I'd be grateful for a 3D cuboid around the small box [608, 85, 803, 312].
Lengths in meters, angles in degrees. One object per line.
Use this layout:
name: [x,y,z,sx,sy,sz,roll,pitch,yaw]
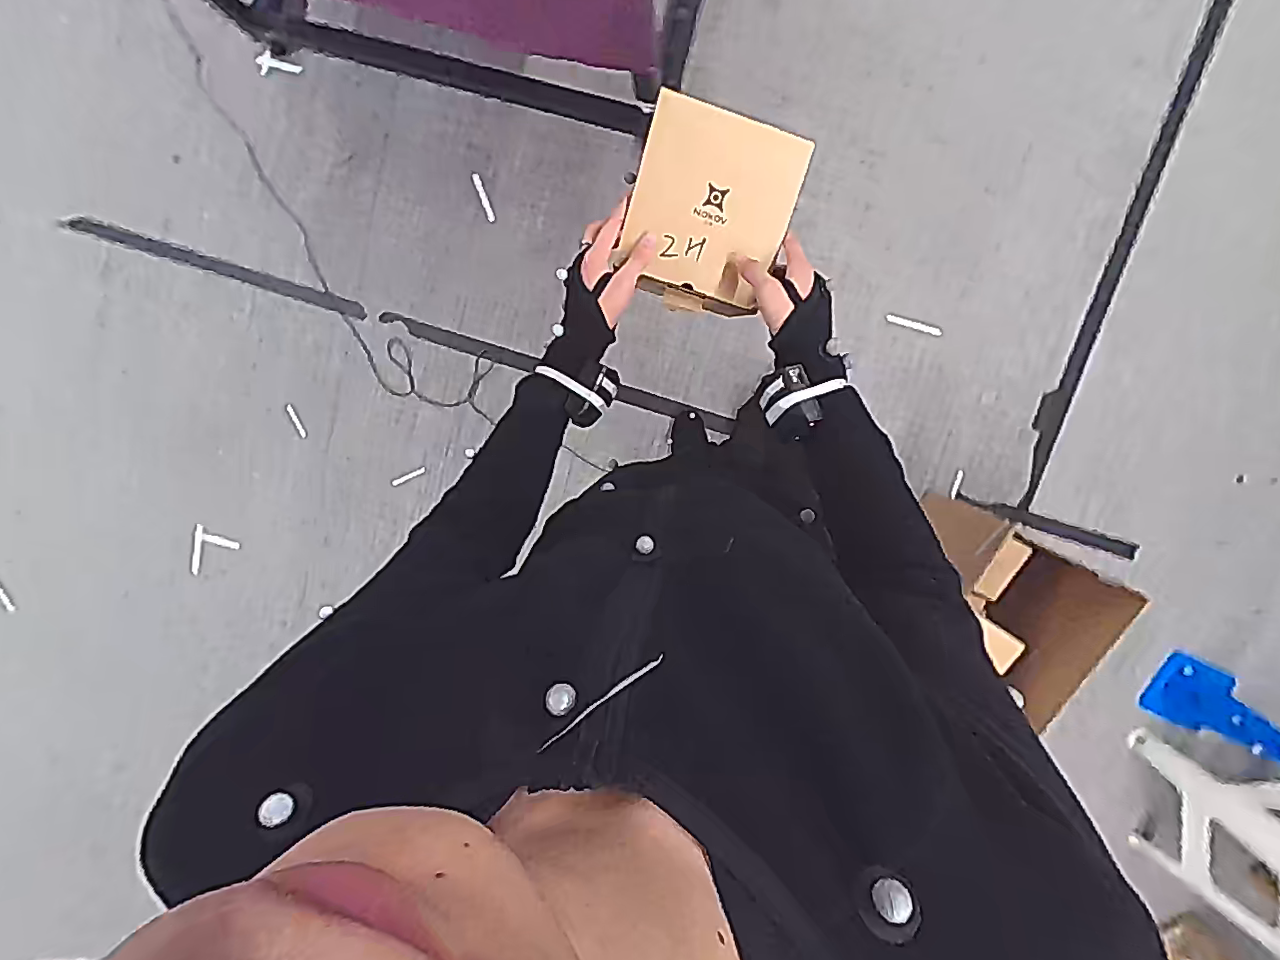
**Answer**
small box: [0.063,-0.308,0.636,0.168,0.176,0.179,15,105,-5]
